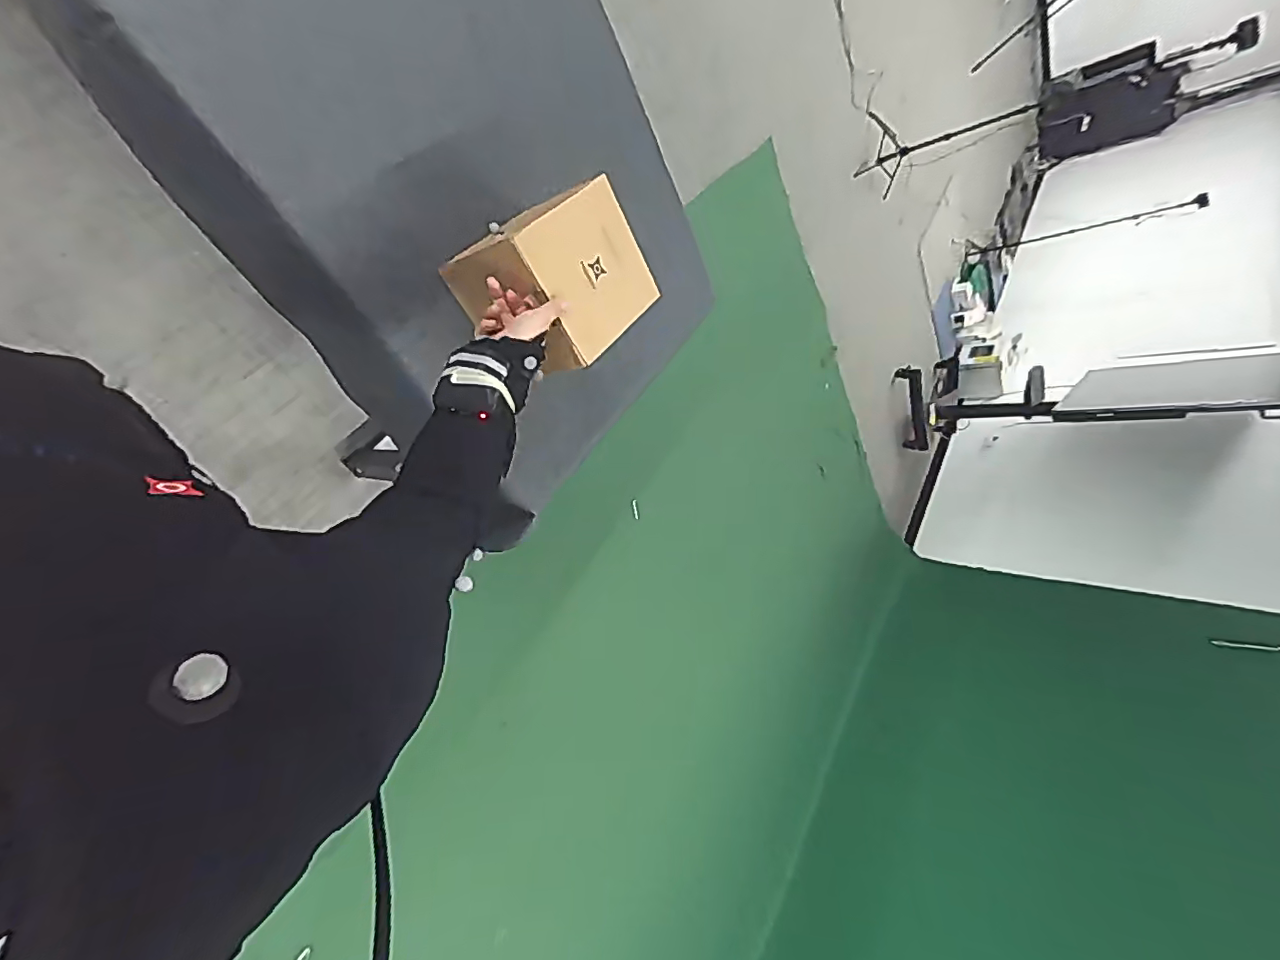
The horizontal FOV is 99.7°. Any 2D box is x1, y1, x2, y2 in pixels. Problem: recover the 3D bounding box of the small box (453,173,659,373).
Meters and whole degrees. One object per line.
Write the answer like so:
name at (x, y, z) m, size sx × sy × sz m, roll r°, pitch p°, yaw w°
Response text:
small box at (-0.111, -0.253, 0.695) m, size 0.179 × 0.176 × 0.168 m, roll -54°, pitch 130°, yaw -31°
